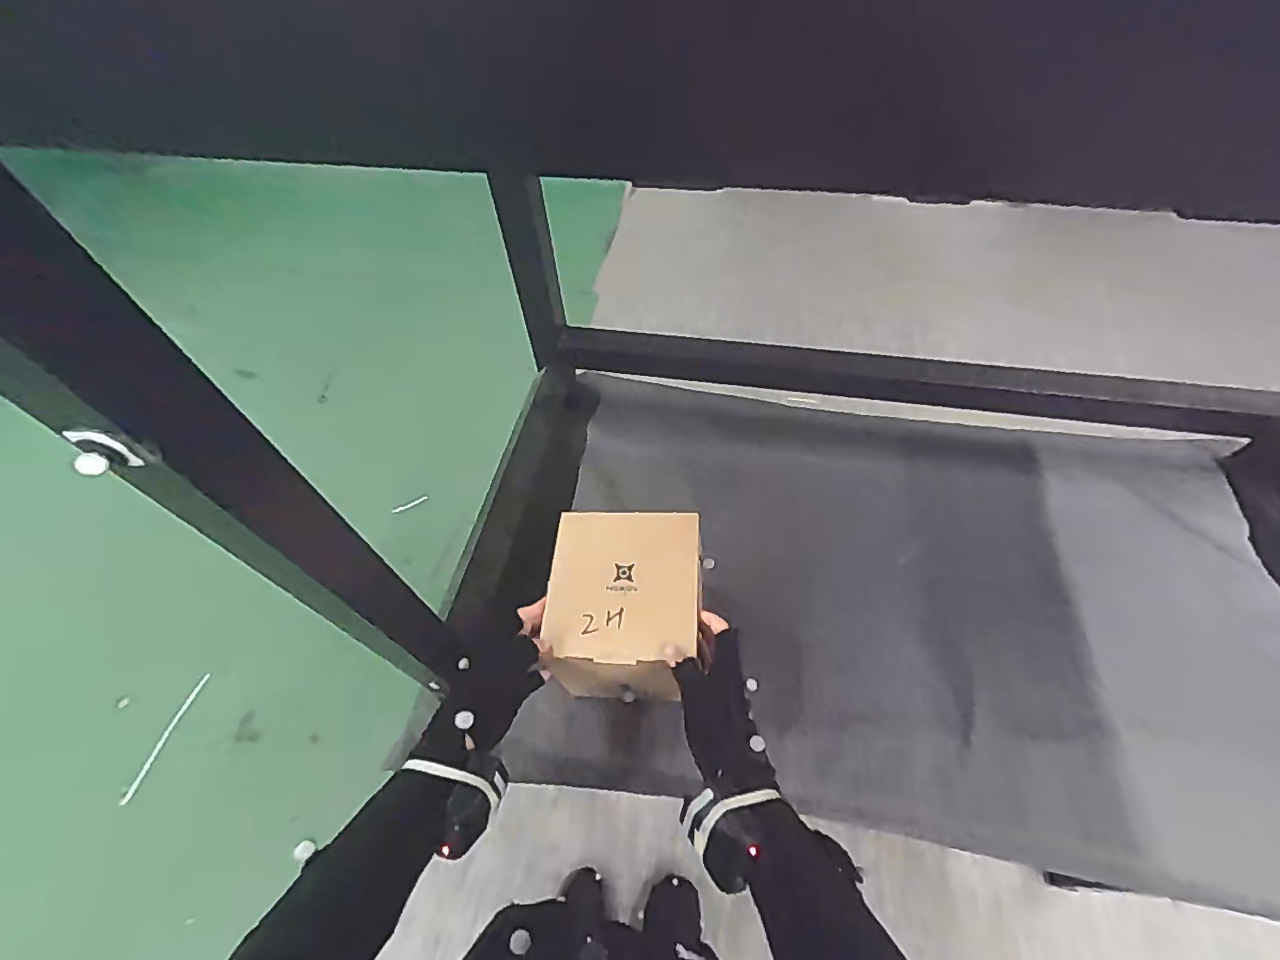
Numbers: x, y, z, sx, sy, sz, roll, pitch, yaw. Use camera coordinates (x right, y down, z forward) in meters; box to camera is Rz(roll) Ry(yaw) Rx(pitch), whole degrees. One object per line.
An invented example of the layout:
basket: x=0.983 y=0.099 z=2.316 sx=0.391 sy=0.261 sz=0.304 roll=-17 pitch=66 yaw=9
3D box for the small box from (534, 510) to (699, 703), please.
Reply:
small box: x=-0.014 y=0.154 z=0.657 sx=0.168 sy=0.176 sz=0.179 roll=0 pitch=55 yaw=8
